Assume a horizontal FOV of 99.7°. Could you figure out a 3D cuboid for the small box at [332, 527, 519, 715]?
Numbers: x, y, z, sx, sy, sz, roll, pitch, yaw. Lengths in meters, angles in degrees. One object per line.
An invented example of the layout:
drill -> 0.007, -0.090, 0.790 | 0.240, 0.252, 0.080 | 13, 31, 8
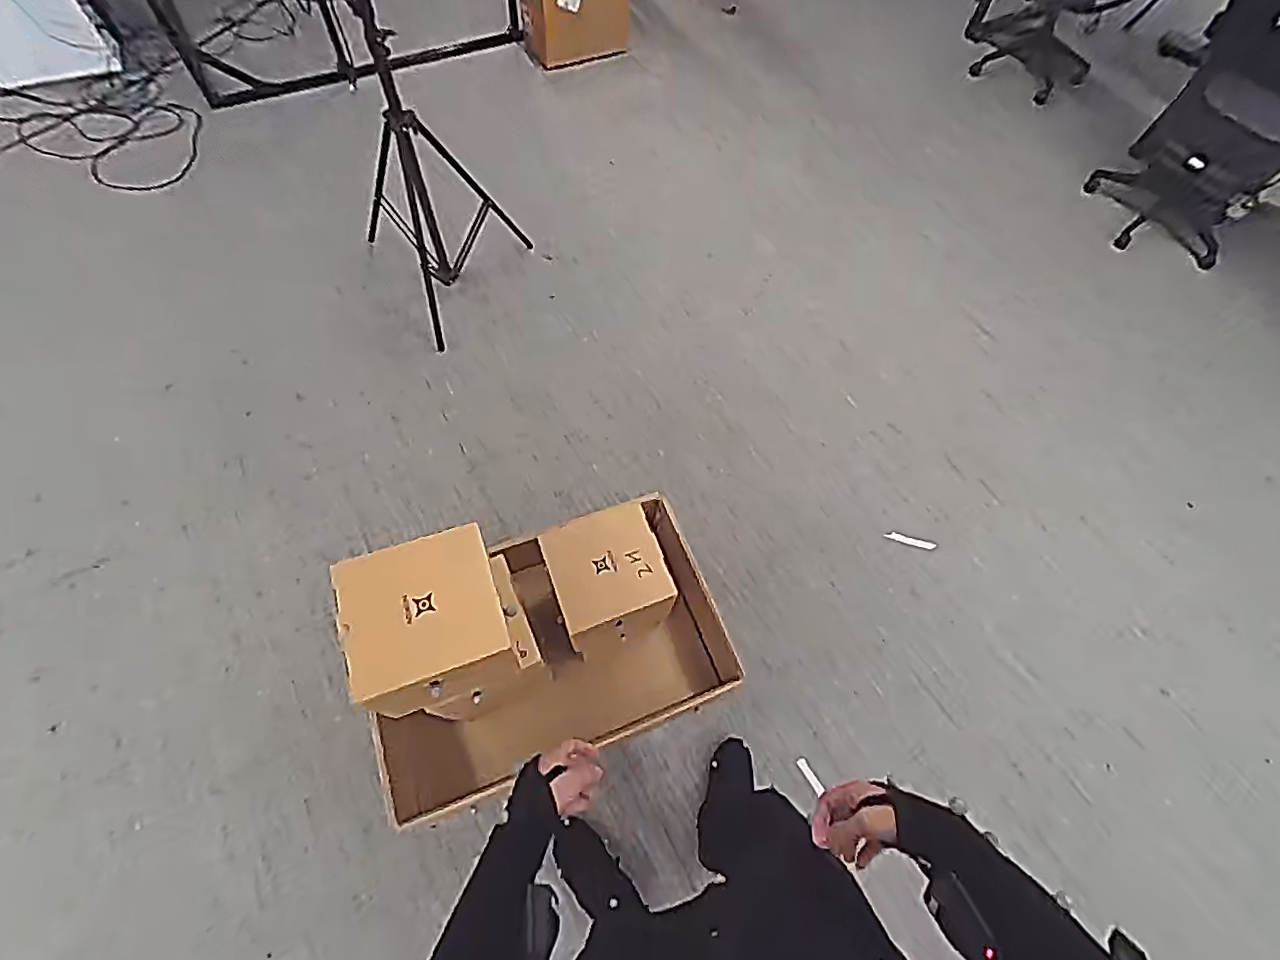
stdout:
small box -> -0.261, 0.185, 0.693 | 0.179, 0.176, 0.168 | -18, 66, -15
